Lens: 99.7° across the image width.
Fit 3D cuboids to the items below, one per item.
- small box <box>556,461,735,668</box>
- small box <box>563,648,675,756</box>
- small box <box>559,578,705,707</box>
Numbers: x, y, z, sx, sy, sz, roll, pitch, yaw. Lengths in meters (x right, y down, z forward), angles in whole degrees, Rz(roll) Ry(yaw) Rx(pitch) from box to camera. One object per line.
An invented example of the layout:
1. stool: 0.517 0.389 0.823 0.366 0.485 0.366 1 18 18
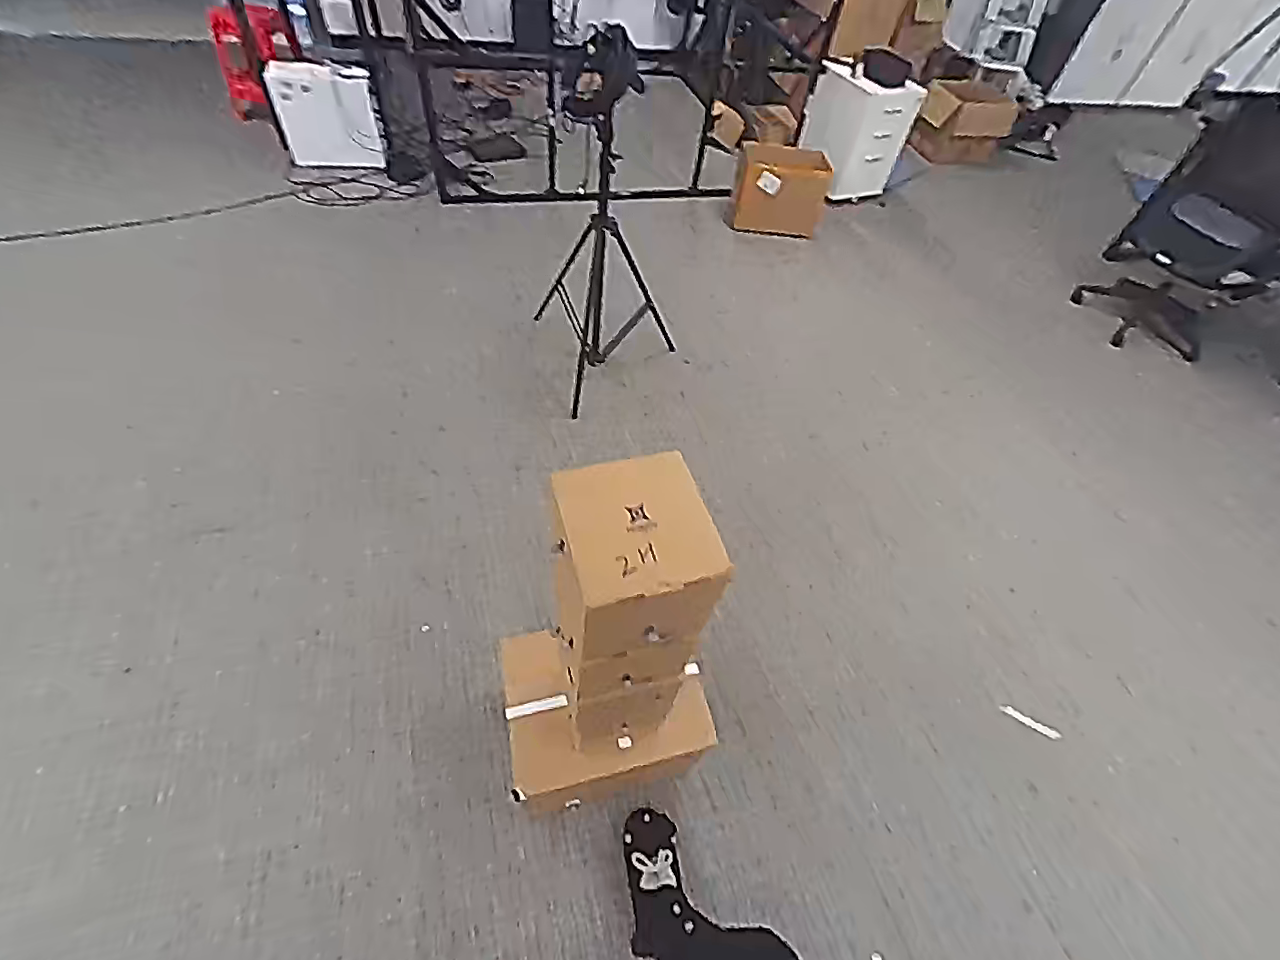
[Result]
1. small box: -0.008 0.104 0.667 0.168 0.176 0.179 -11 56 -15
2. small box: -0.049 0.414 1.047 0.179 0.176 0.168 -10 55 -16
3. small box: -0.024 0.207 0.795 0.168 0.176 0.179 -10 55 -15
